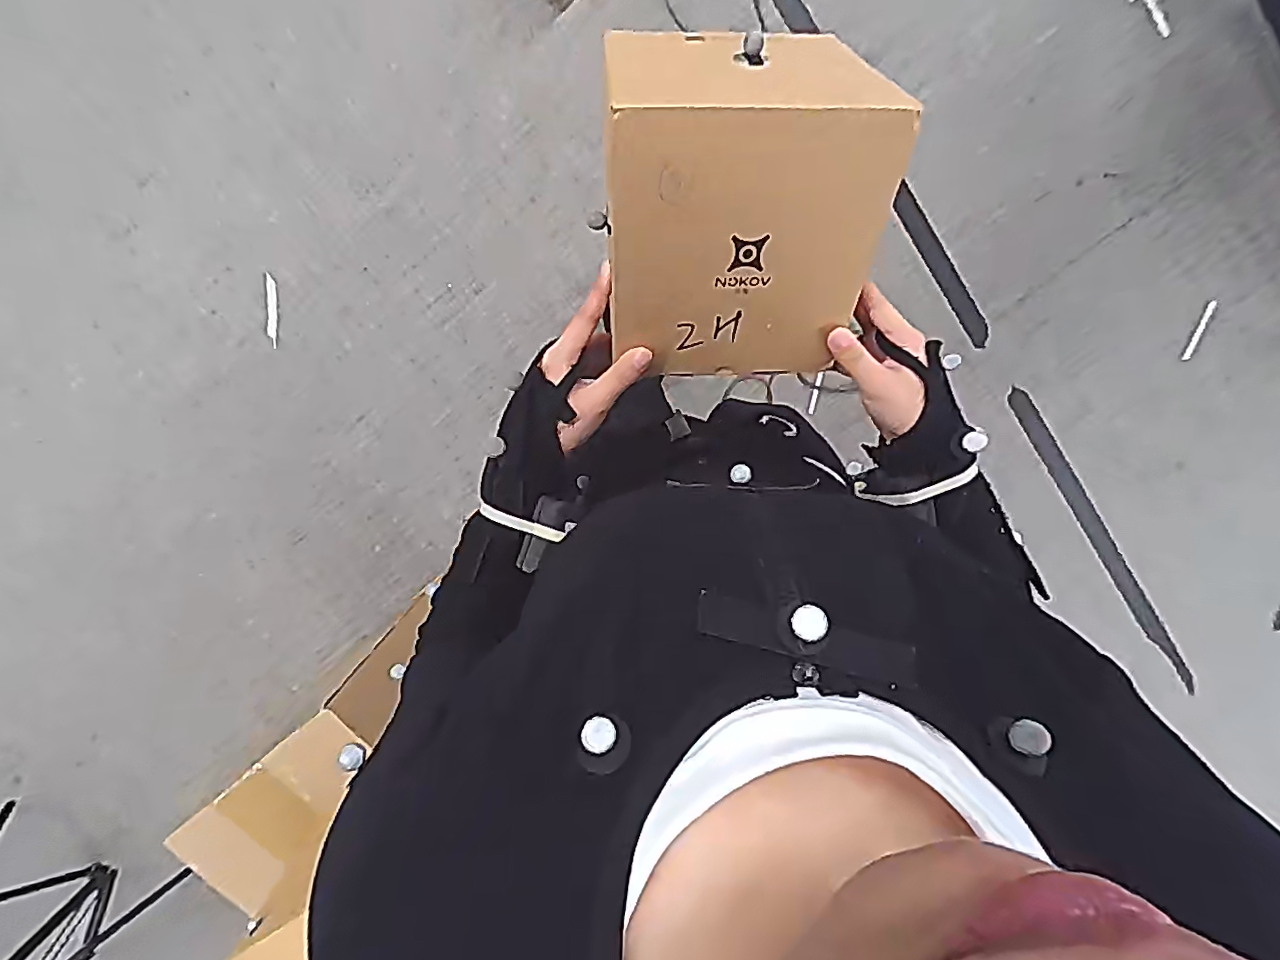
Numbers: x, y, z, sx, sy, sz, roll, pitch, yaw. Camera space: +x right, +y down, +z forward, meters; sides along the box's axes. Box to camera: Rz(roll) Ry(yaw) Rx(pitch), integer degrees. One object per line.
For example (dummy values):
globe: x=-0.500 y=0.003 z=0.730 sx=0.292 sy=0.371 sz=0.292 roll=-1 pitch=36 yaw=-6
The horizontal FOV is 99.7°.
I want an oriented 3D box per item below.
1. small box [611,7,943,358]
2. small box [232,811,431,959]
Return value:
small box: x=0.064 y=-0.207 z=0.380 sx=0.168 sy=0.176 sz=0.179 roll=-1 pitch=139 yaw=-4
small box: x=-0.437 y=0.639 z=0.797 sx=0.179 sy=0.176 sz=0.168 roll=-36 pitch=102 yaw=9
